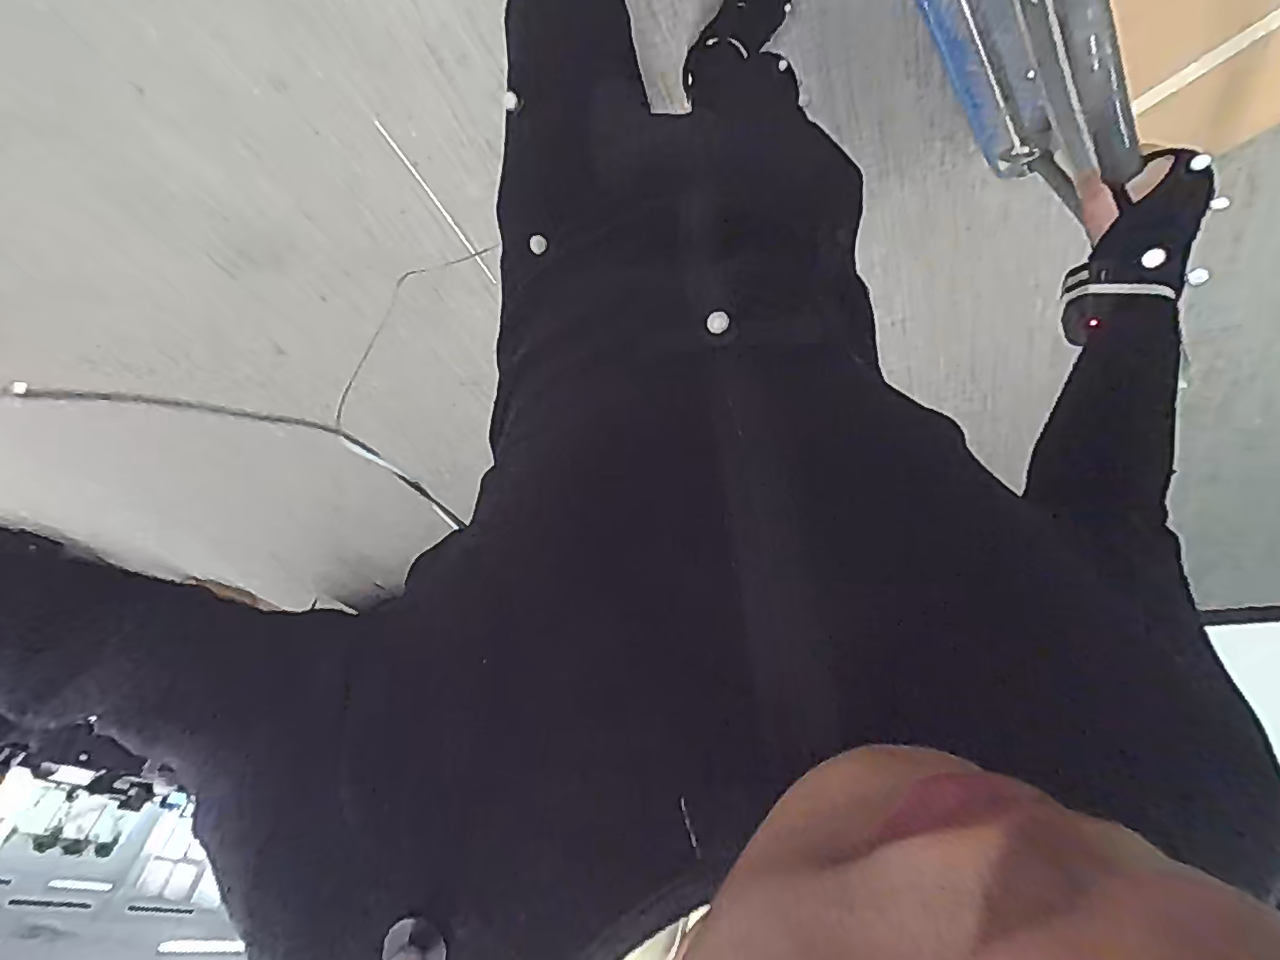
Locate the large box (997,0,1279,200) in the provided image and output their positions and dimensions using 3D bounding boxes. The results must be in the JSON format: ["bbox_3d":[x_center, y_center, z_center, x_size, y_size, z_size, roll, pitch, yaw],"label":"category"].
[{"bbox_3d":[0.804,-0.704,0.751,0.408,0.320,0.320,-28,130,36],"label":"large box"}]
